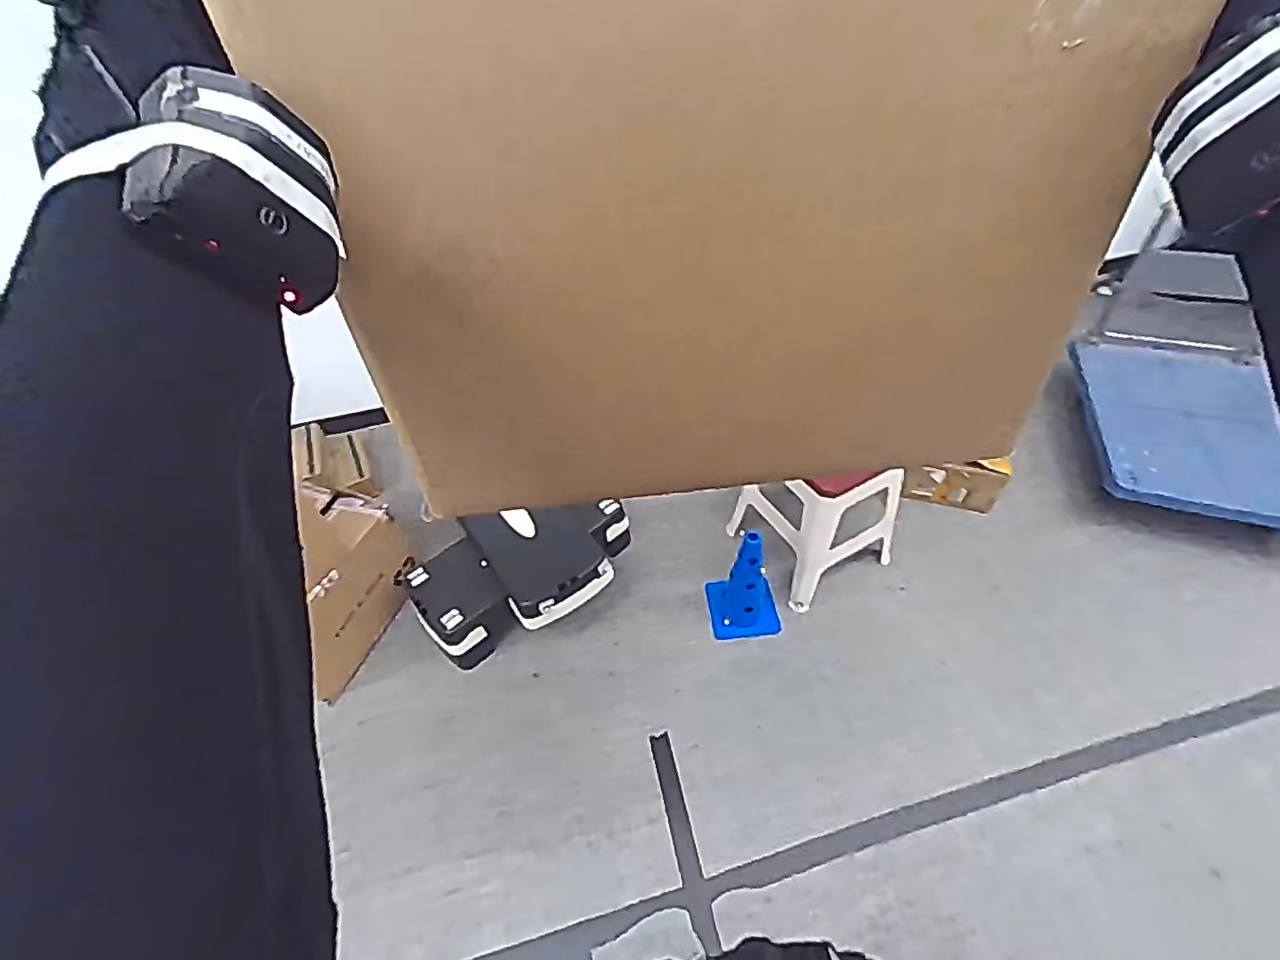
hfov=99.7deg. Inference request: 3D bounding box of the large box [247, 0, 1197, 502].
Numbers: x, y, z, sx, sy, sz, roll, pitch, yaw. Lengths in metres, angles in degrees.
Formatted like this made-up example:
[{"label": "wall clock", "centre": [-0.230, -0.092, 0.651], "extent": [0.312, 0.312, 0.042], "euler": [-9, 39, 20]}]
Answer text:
[{"label": "large box", "centre": [0.036, -0.210, 0.394], "extent": [0.408, 0.320, 0.320], "euler": [-5, 40, -1]}]
